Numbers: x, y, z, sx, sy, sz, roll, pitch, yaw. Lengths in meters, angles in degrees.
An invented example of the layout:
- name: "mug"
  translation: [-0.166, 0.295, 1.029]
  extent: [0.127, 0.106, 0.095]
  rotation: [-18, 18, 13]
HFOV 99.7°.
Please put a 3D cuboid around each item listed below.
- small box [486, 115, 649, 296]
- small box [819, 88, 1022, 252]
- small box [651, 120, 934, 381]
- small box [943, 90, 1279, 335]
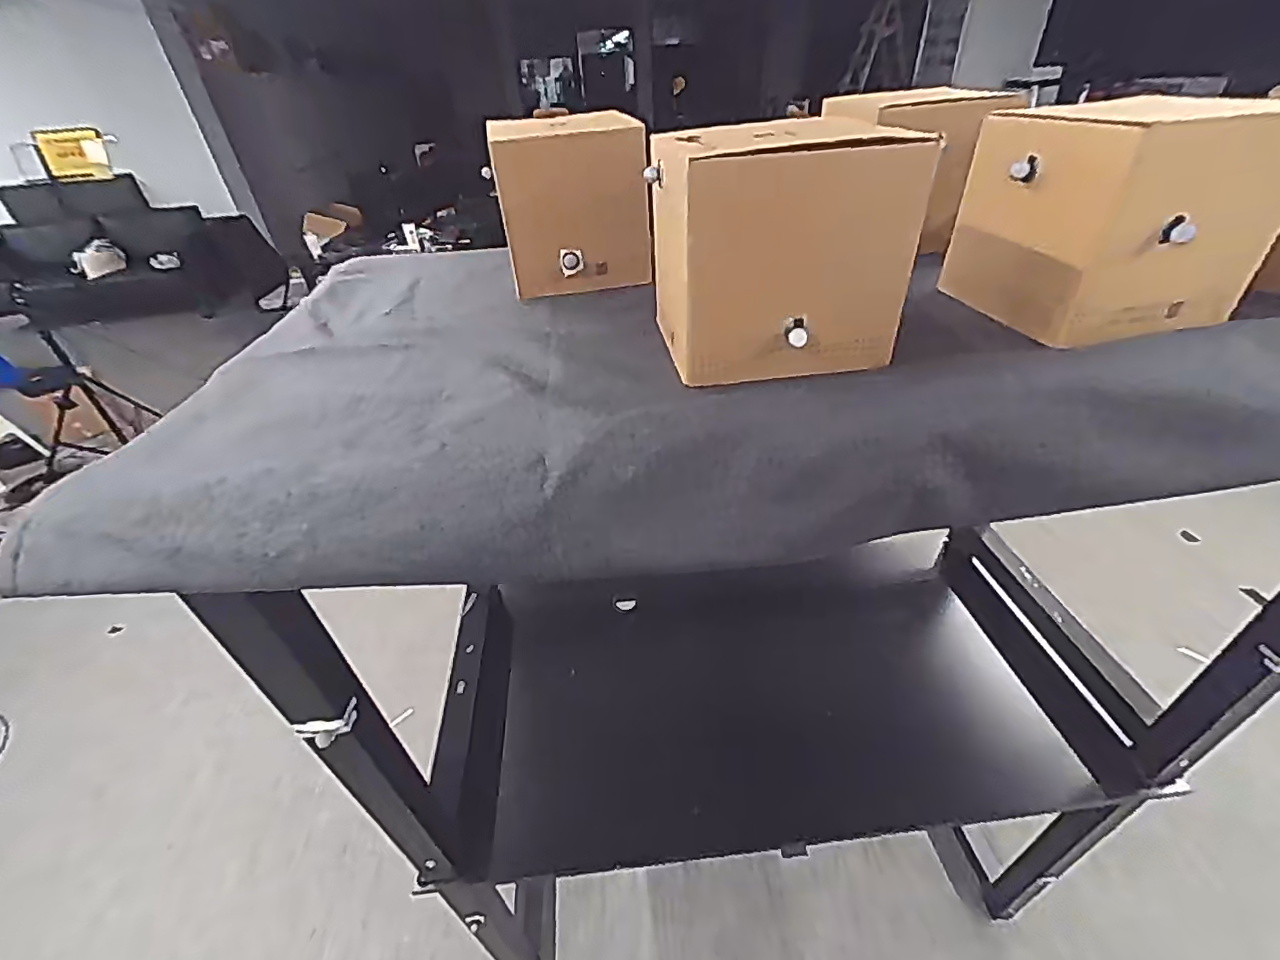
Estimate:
- name: "small box"
  translation: [-0.088, -0.342, 0.670]
  extent: [0.168, 0.176, 0.179]
  rotation: [-11, 38, -7]
- name: "small box"
  translation: [0.340, -0.403, 0.708]
  extent: [0.179, 0.176, 0.168]
  rotation: [-6, 38, -3]
- name: "small box"
  translation: [0.106, -0.199, 0.464]
  extent: [0.179, 0.176, 0.168]
  rotation: [-6, 37, -4]
- name: "small box"
  translation: [0.413, -0.236, 0.484]
  extent: [0.168, 0.176, 0.179]
  rotation: [-8, 36, -4]
